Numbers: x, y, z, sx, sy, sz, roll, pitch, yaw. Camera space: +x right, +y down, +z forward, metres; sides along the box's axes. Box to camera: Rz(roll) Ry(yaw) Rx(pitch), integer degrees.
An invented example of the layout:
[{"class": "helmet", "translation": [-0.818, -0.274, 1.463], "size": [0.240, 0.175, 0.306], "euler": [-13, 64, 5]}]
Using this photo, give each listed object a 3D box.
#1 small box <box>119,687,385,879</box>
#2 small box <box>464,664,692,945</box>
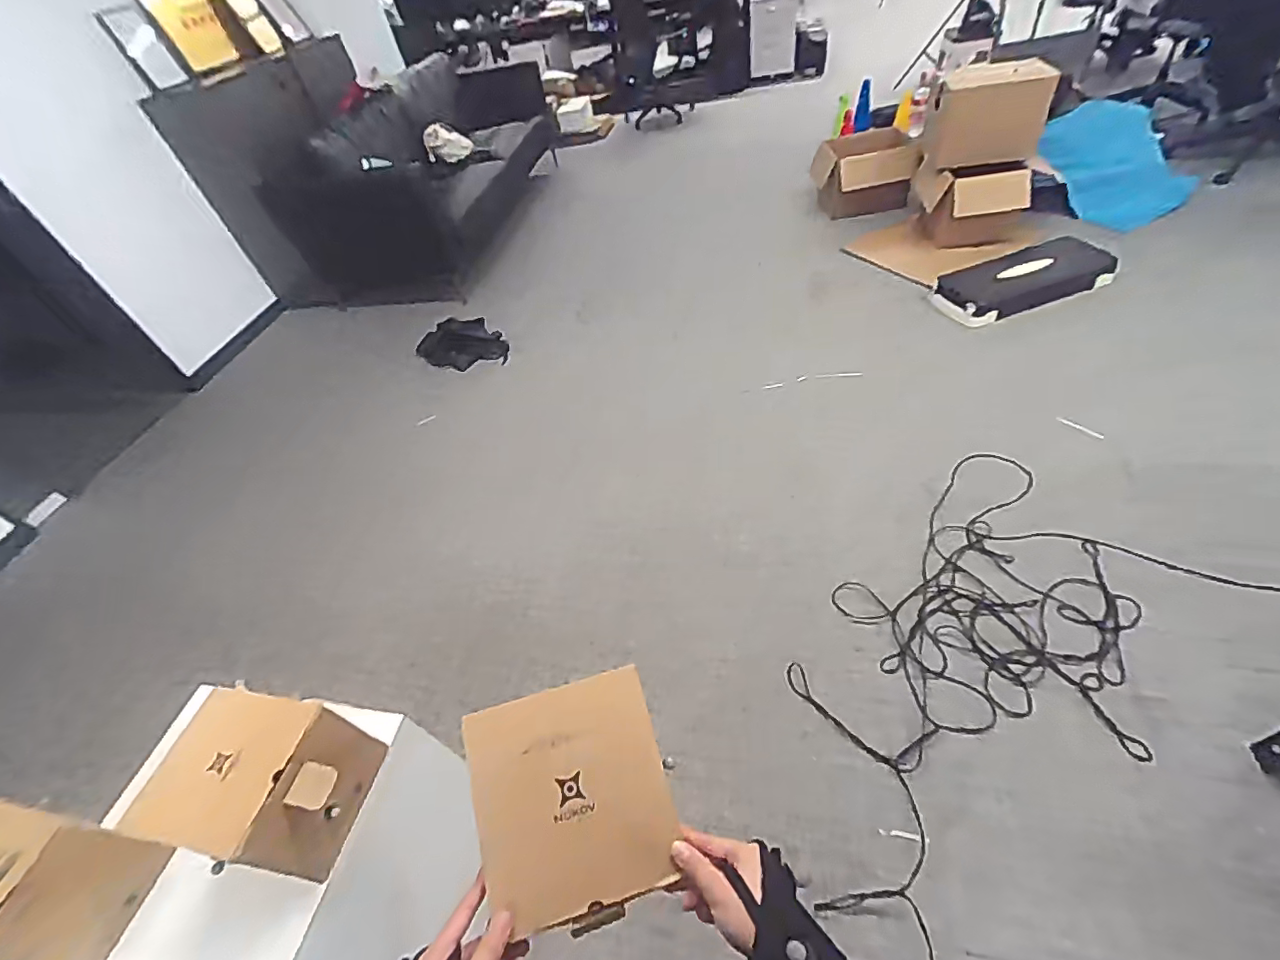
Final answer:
[{"class": "small box", "translation": [-0.474, 0.387, 0.691], "size": [0.179, 0.176, 0.168], "euler": [2, 48, 15]}, {"class": "small box", "translation": [-0.058, 0.298, 0.533], "size": [0.168, 0.176, 0.179], "euler": [-15, 66, -8]}]
